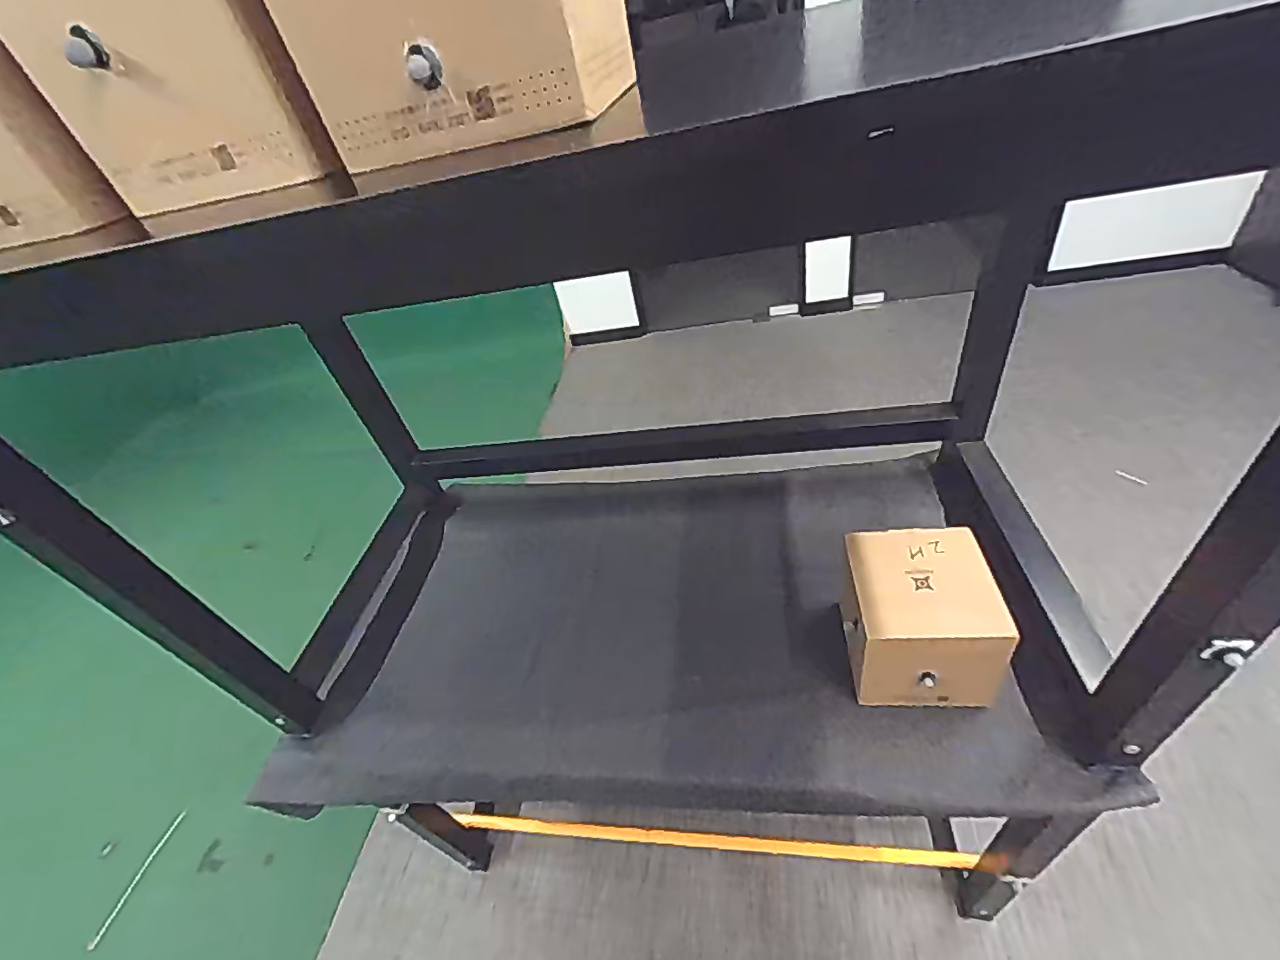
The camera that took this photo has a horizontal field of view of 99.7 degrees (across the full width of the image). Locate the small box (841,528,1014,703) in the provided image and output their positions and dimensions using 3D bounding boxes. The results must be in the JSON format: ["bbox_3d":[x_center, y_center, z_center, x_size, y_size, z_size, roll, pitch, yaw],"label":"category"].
[{"bbox_3d":[0.378,0.188,0.746,0.168,0.176,0.179,-4,40,12],"label":"small box"}]

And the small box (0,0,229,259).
[{"bbox_3d":[-0.487,-0.293,0.435,0.168,0.176,0.179,-3,43,14],"label":"small box"}]
